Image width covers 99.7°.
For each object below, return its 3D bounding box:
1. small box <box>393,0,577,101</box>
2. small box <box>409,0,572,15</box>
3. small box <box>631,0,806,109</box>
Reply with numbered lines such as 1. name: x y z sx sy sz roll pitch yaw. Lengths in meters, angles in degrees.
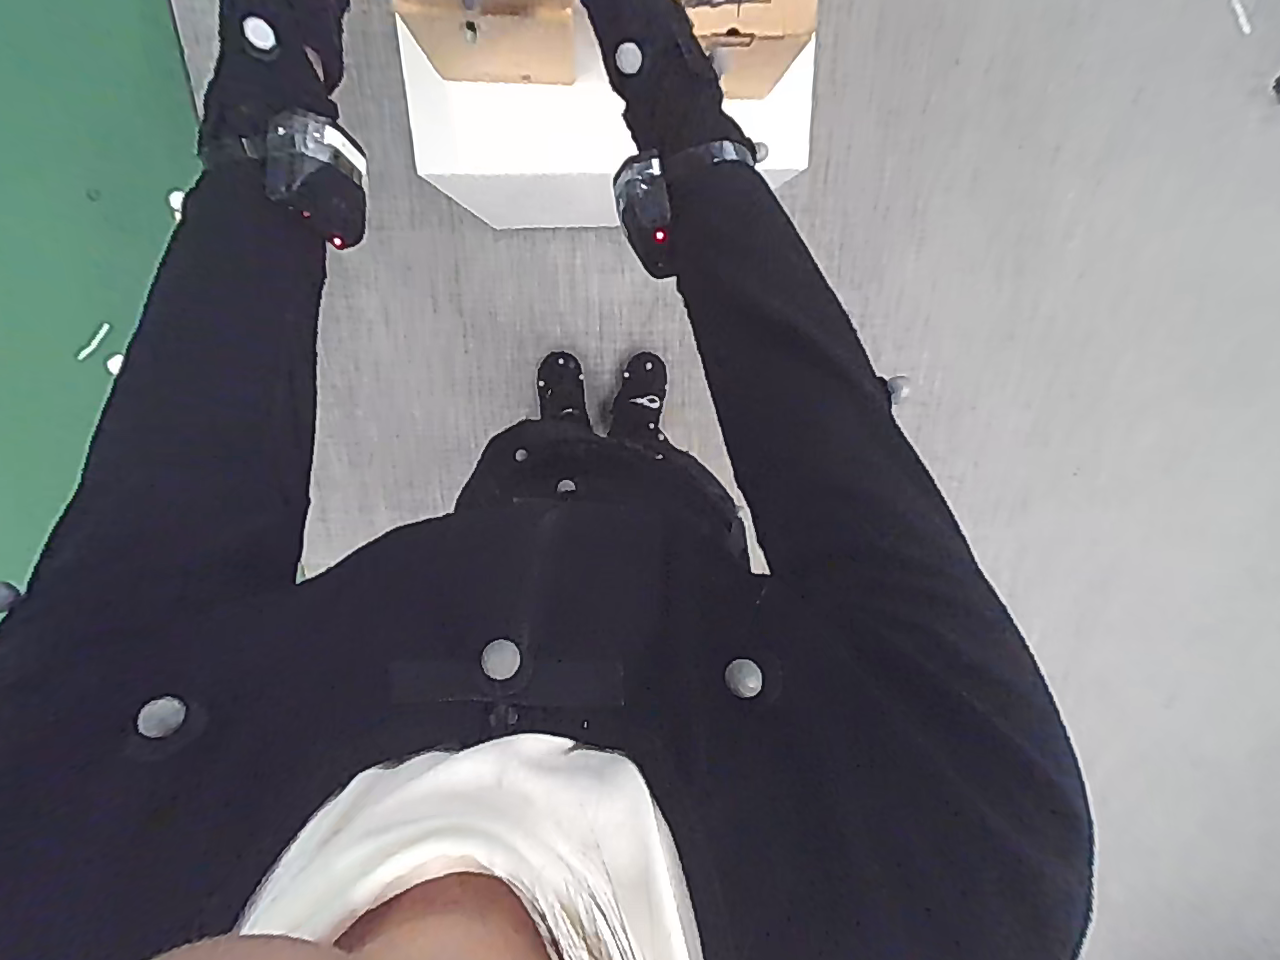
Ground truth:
1. small box: -0.154 -0.538 0.571 0.168 0.176 0.179 0 106 -4
2. small box: -0.136 -0.494 0.400 0.168 0.176 0.179 -3 108 -4
3. small box: 0.078 -0.532 0.591 0.168 0.176 0.179 -2 106 -4
